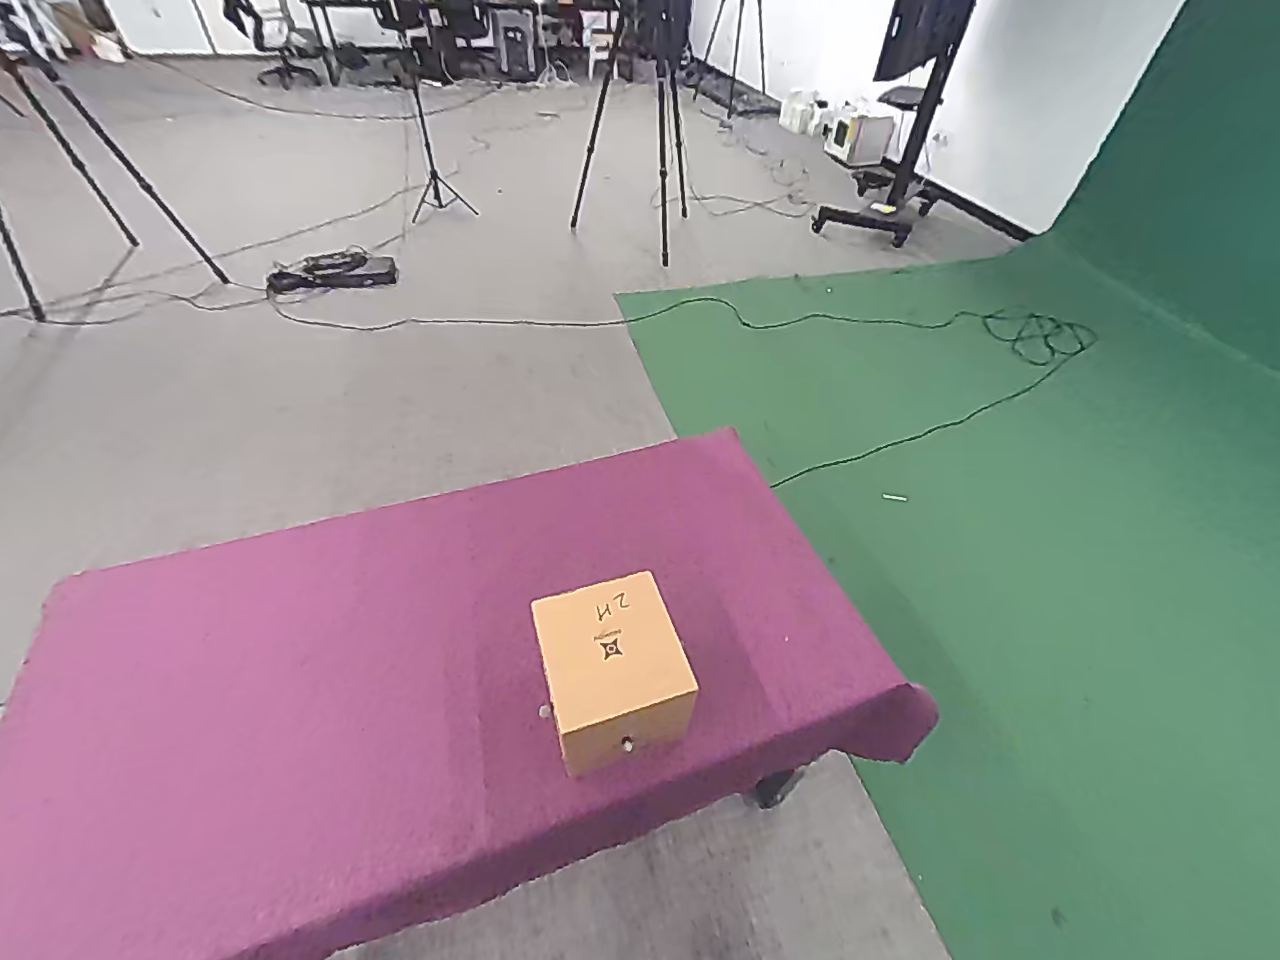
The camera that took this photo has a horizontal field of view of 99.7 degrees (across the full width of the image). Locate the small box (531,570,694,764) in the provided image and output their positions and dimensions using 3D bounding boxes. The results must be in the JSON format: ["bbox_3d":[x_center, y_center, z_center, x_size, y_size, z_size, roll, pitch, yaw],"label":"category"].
[{"bbox_3d":[-0.041,0.253,0.719,0.168,0.176,0.179,-12,48,-15],"label":"small box"}]
